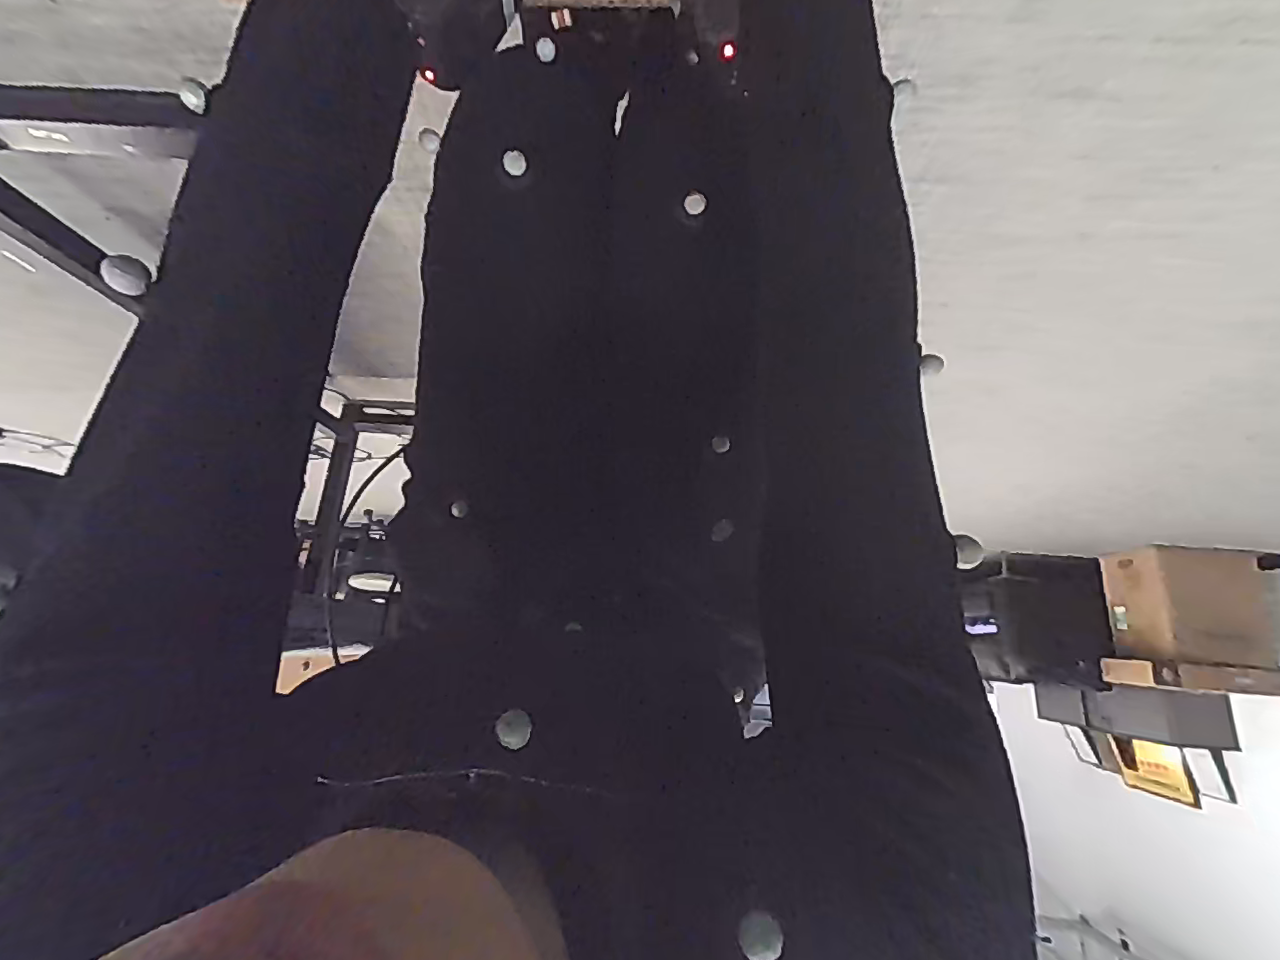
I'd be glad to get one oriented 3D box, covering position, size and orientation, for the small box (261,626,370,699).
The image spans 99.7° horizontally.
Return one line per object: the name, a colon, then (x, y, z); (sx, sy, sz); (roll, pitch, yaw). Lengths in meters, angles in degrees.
small box: (-0.840, 0.472, 1.415); (0.168, 0.176, 0.179); (3, 164, 4)
